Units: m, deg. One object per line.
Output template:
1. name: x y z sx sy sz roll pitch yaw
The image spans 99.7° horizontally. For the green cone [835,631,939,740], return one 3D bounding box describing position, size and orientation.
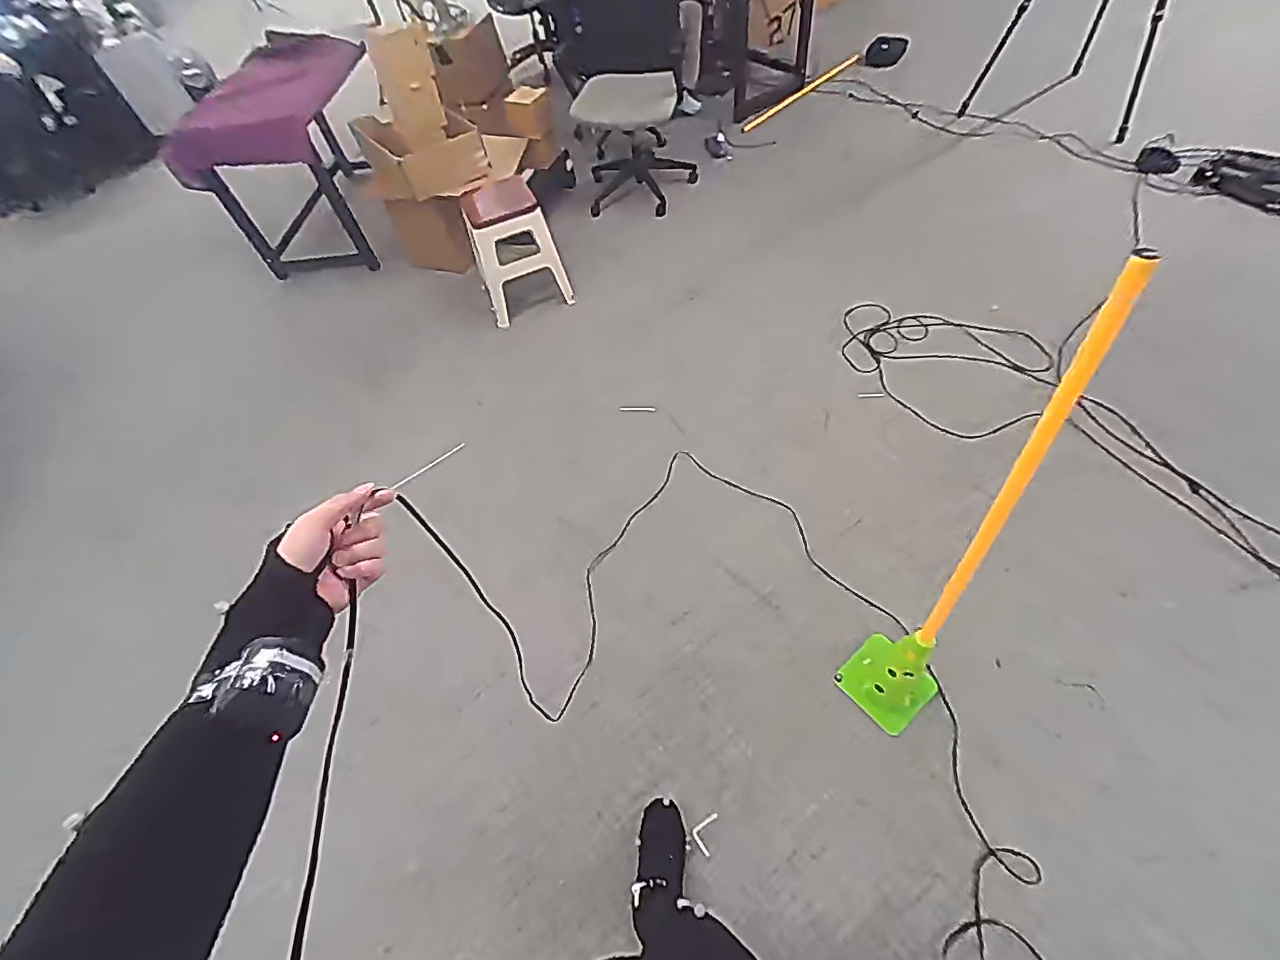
1. green cone: 0.635 0.449 1.294 0.202 0.368 0.200 -36 59 -19
